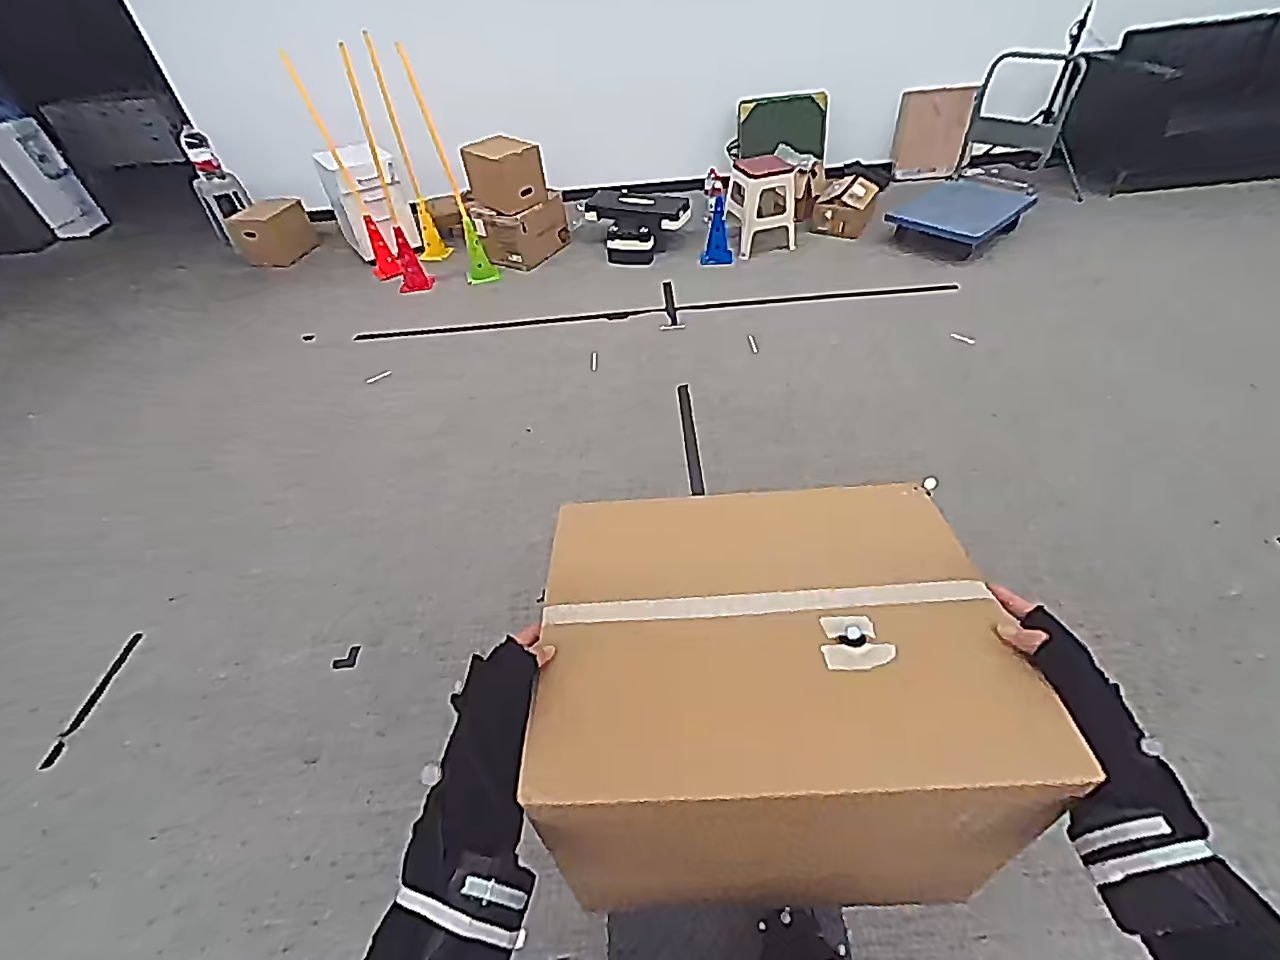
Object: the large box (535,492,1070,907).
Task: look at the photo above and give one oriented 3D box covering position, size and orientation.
[{"bbox_3d":[0.124,0.239,0.604,0.408,0.320,0.320,-4,40,2],"label":"large box"}]
